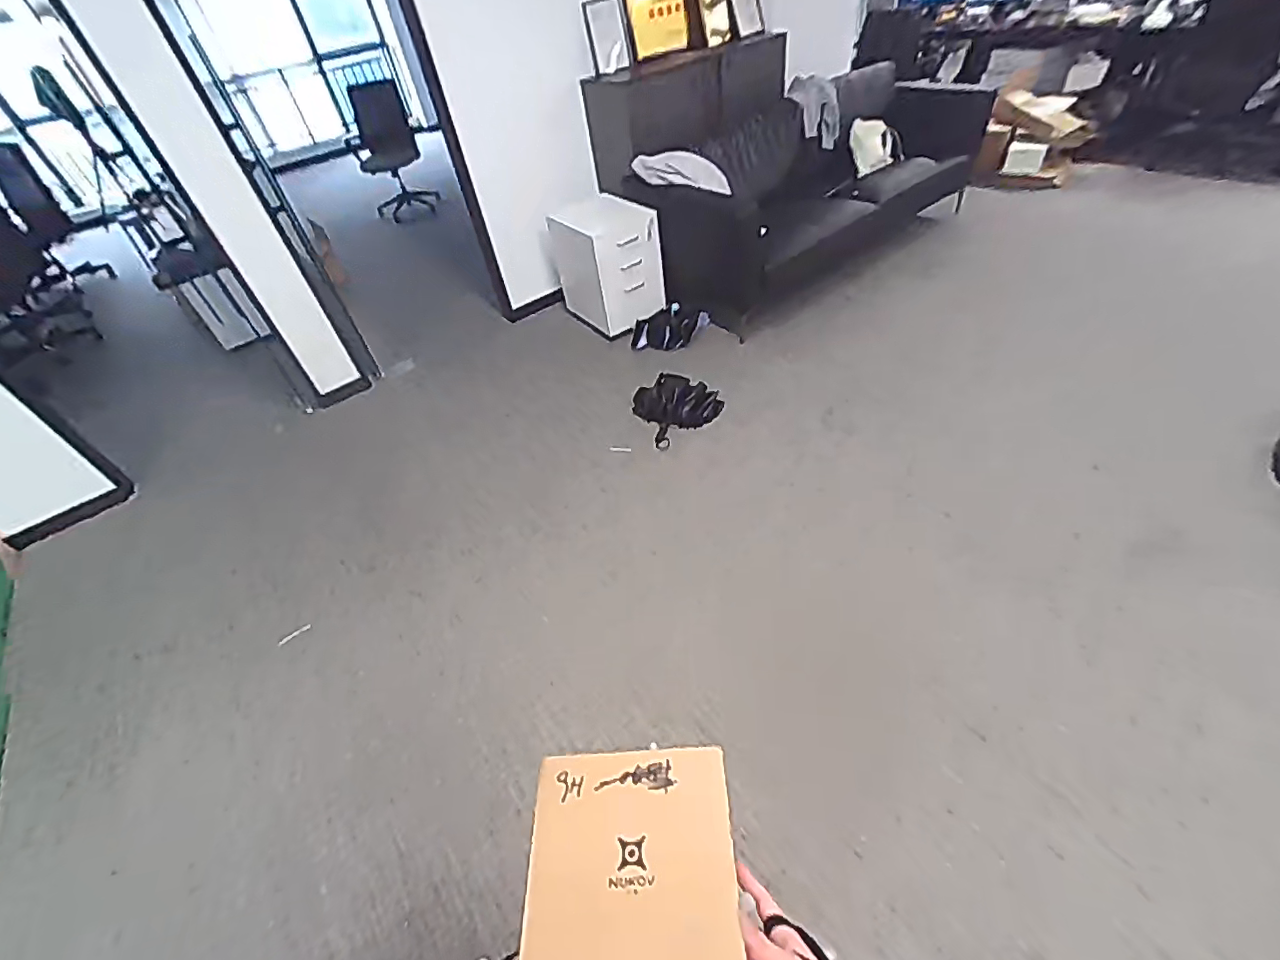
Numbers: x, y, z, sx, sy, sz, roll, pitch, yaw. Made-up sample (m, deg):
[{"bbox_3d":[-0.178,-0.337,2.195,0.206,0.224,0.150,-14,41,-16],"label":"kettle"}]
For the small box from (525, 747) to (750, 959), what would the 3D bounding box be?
[{"bbox_3d":[0.006,0.360,0.479,0.168,0.176,0.179,-4,44,3],"label":"small box"}]
